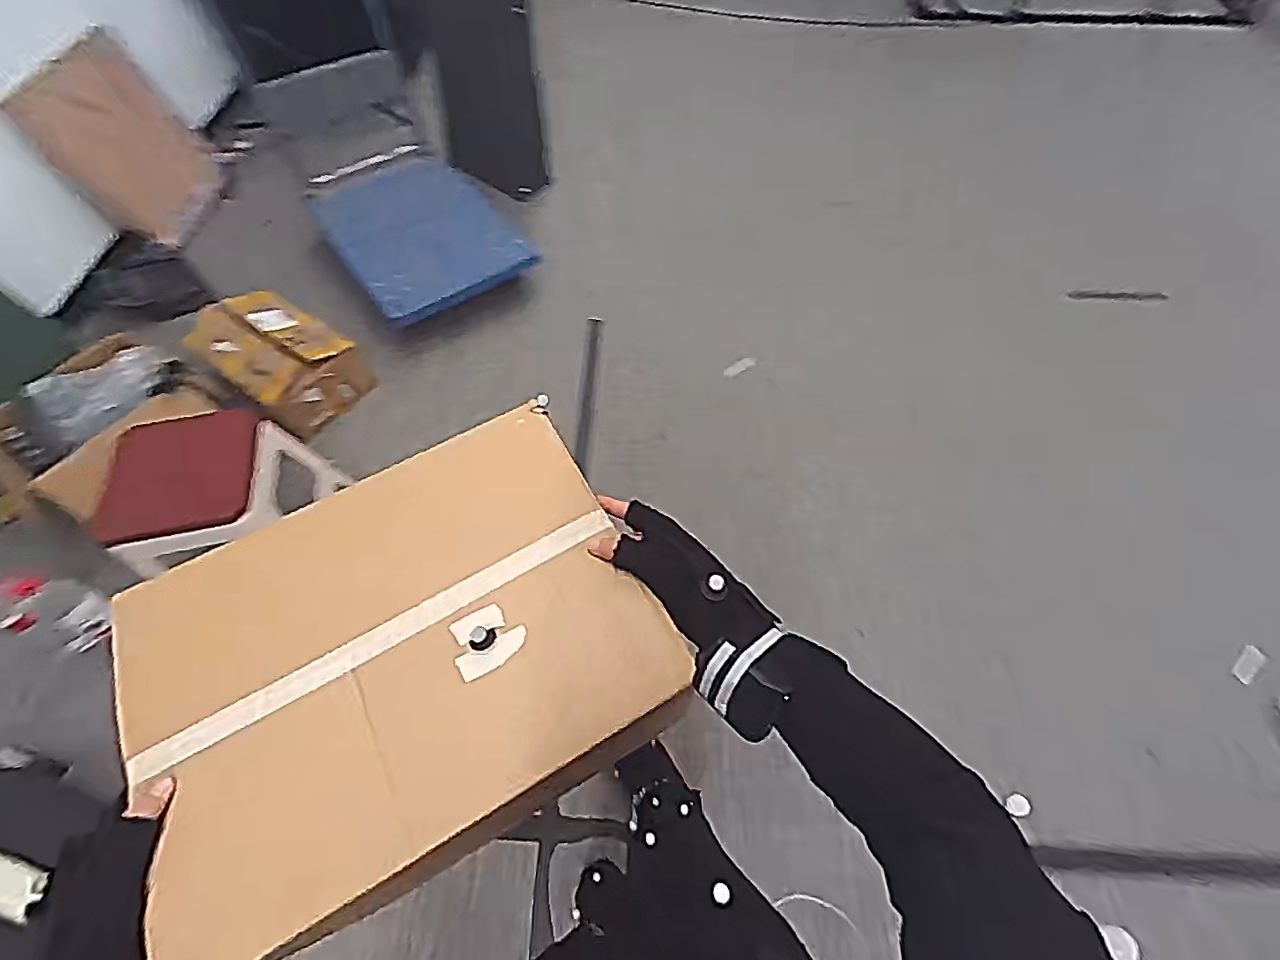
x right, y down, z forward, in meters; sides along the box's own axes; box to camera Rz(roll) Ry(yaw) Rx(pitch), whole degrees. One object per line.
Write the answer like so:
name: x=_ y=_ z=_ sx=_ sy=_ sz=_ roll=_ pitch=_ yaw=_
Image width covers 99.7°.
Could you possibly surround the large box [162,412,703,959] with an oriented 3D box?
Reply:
large box: x=-0.186 y=0.202 z=0.595 sx=0.408 sy=0.320 sz=0.320 roll=-27 pitch=64 yaw=-12
